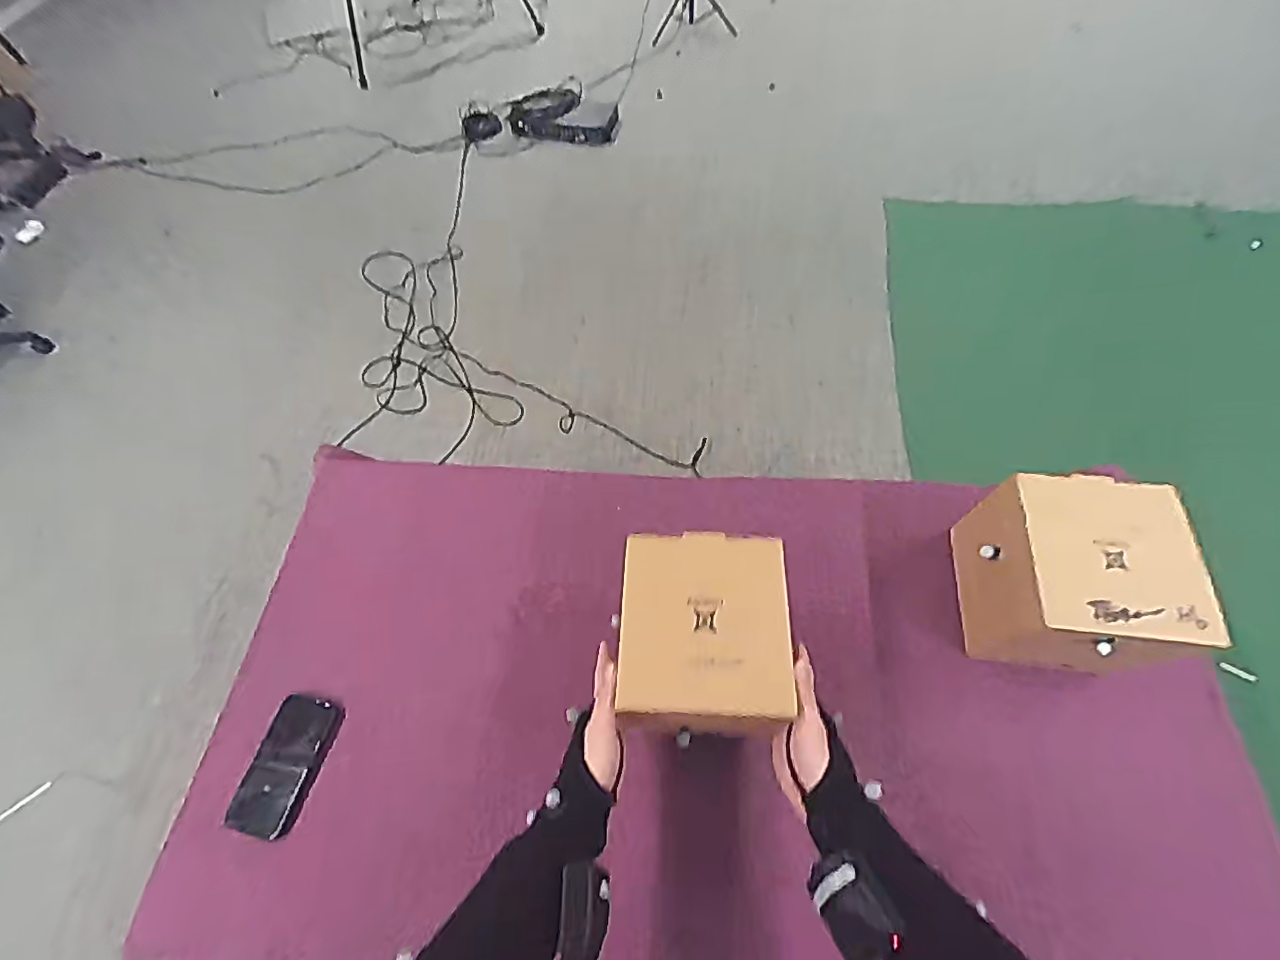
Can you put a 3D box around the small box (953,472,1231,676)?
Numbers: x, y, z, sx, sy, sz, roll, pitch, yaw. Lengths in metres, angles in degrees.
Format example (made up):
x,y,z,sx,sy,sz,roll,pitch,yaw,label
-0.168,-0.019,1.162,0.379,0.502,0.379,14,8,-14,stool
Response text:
x,y,z,sx,sy,sz,roll,pitch,yaw,label
0.486,0.112,0.621,0.168,0.176,0.179,5,61,8,small box

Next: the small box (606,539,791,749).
x,y,z,sx,sy,sz,roll,pitch,yaw,label
0.060,0.180,0.584,0.168,0.176,0.179,1,59,5,small box
